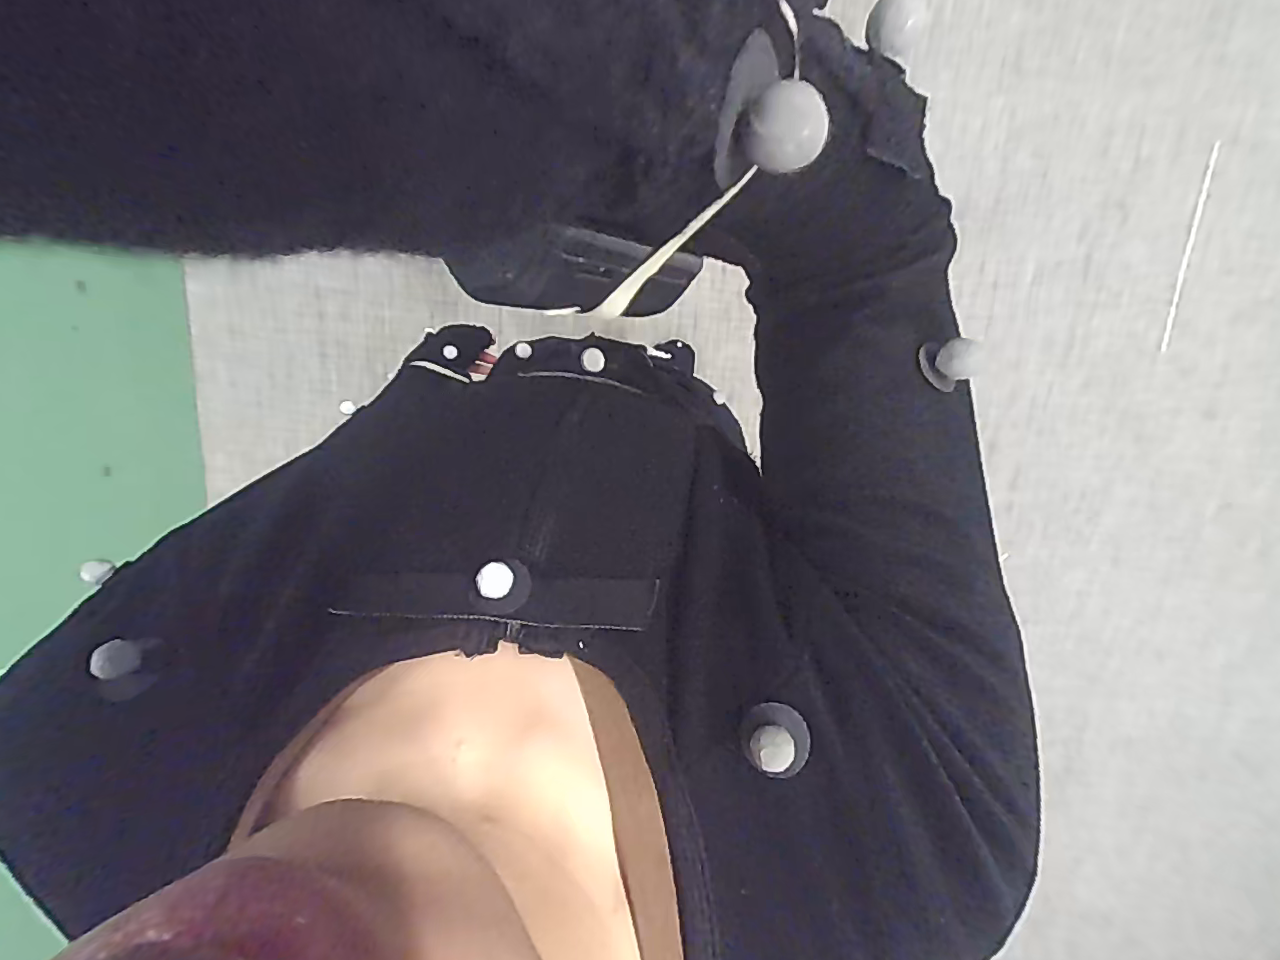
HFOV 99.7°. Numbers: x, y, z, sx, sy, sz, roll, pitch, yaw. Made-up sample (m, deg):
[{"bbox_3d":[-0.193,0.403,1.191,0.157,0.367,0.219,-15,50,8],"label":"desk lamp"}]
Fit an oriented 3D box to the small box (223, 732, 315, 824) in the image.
[{"bbox_3d":[-1.109,0.889,1.627,0.168,0.176,0.179,6,103,0],"label":"small box"}]
